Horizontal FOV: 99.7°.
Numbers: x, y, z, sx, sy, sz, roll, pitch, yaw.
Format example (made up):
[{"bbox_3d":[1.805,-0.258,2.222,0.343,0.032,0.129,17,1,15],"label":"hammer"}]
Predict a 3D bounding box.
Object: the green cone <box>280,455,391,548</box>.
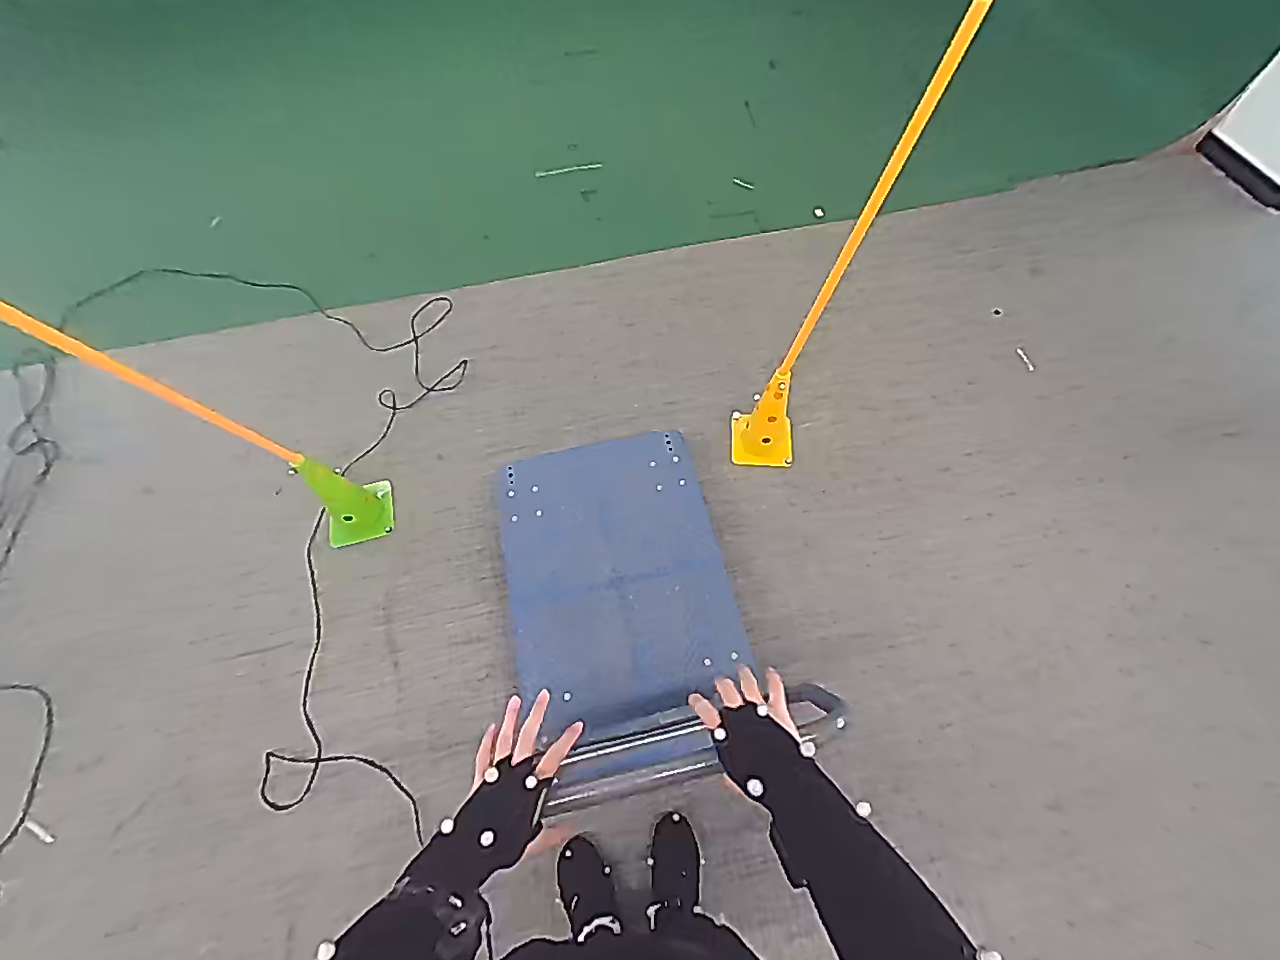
[{"bbox_3d":[-0.910,0.028,1.576,0.202,0.368,0.200,-16,63,-5],"label":"green cone"}]
